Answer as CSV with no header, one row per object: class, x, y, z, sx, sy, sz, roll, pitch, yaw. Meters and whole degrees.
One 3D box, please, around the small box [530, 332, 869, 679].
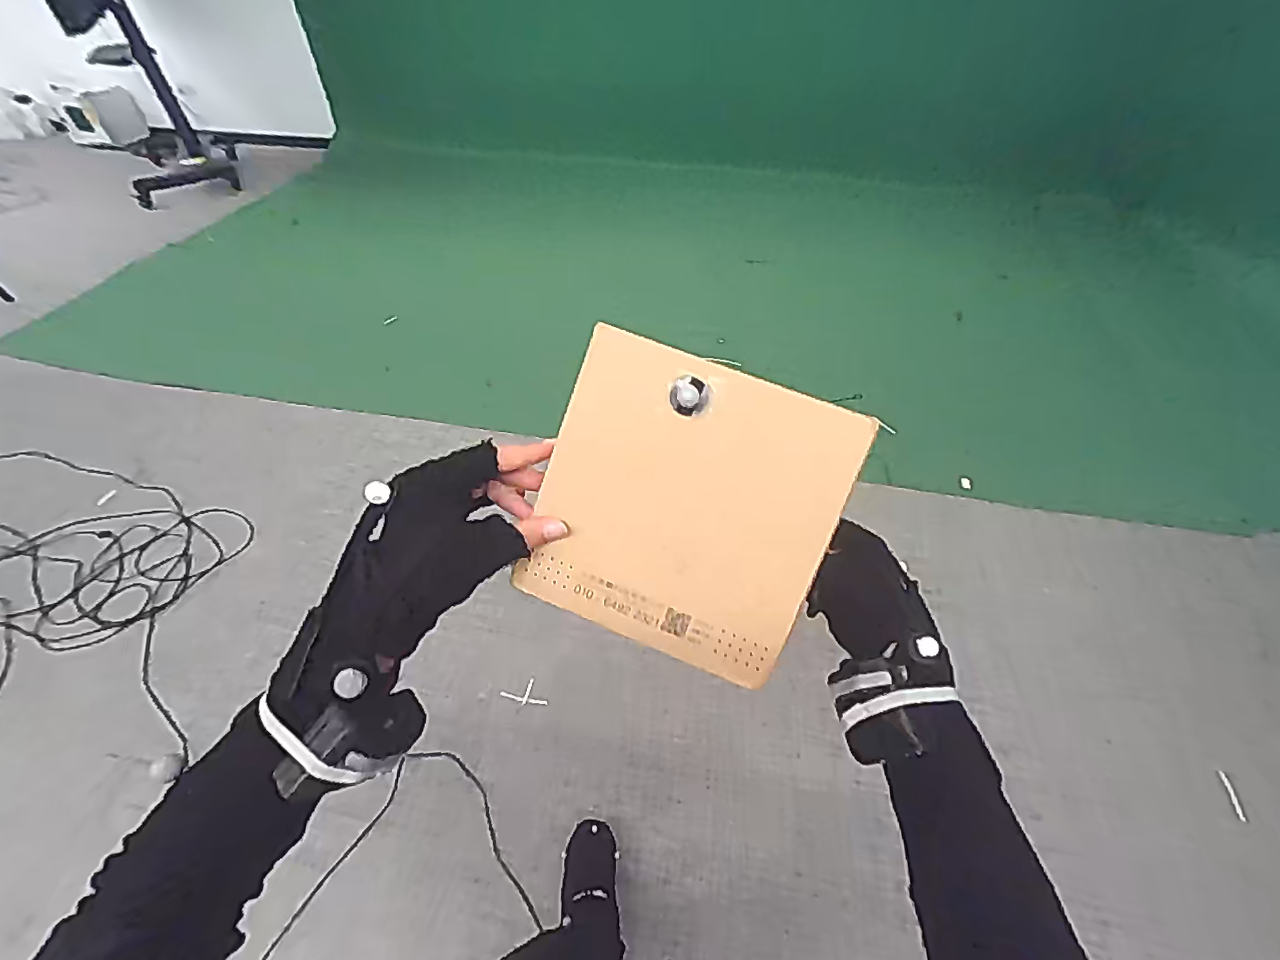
small box,0.039,0.012,0.402,0.168,0.176,0.179,22,8,7
